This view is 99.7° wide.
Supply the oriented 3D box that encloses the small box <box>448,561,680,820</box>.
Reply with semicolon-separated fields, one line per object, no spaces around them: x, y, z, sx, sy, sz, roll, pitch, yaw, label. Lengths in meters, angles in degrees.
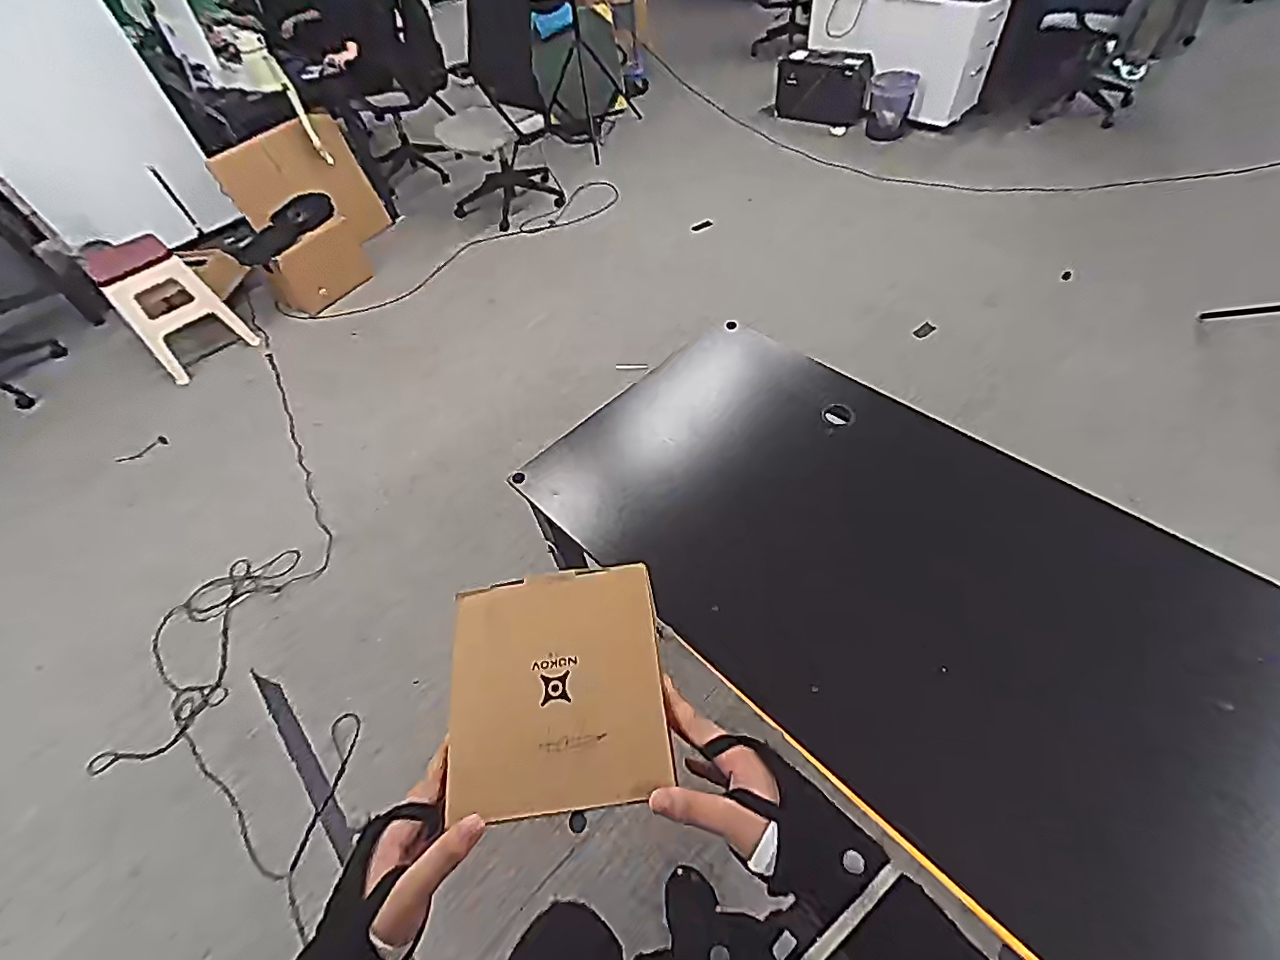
-0.057;0.192;0.488;0.168;0.176;0.179;-8;61;1;small box
